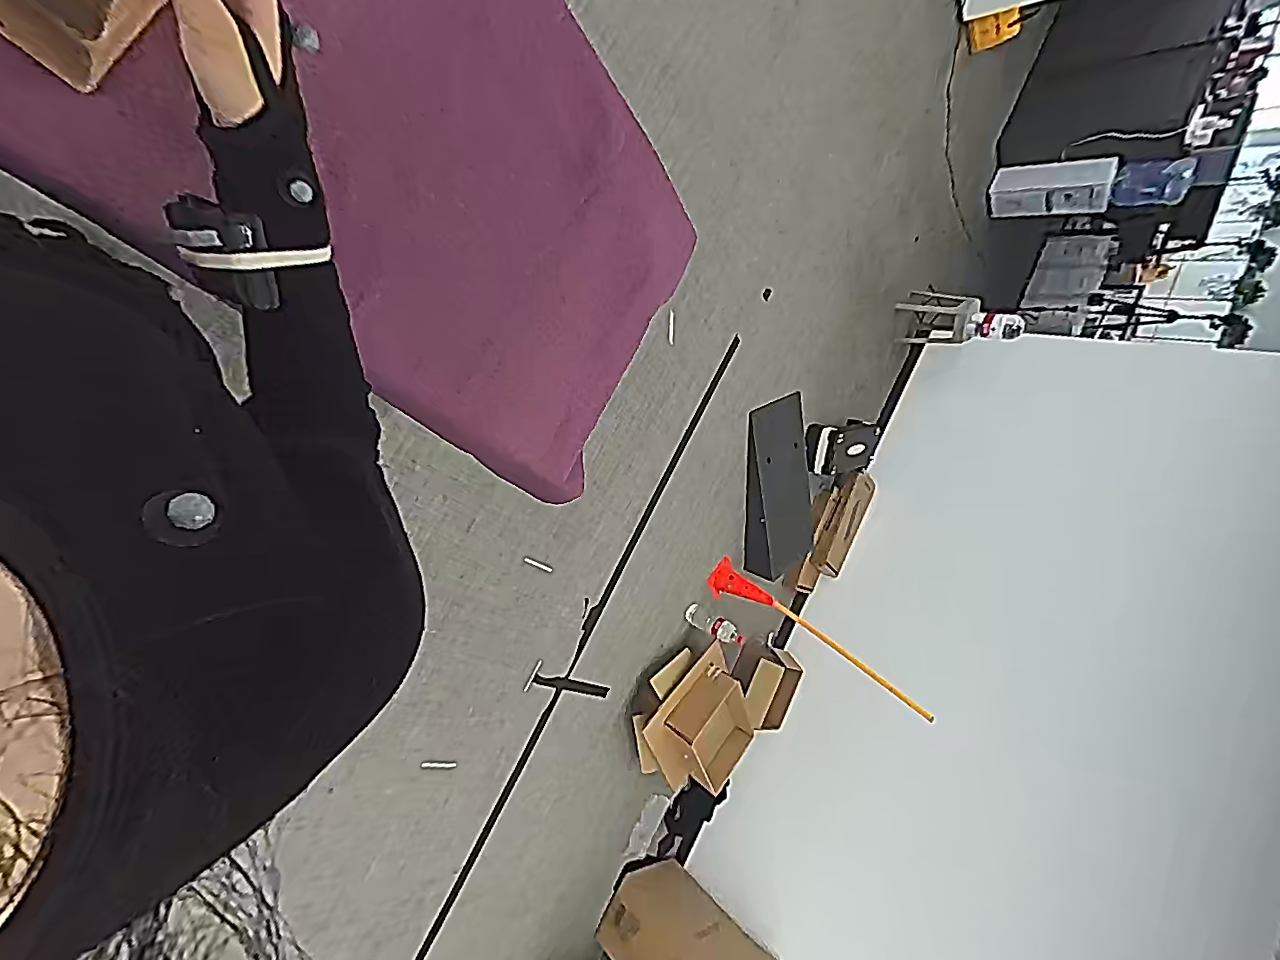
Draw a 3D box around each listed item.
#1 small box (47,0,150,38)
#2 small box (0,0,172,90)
[{"bbox_3d":[-0.350,-0.408,0.307,0.168,0.176,0.179,35,79,-49],"label":"small box"},{"bbox_3d":[-0.469,-0.445,0.413,0.168,0.176,0.179,39,75,-48],"label":"small box"}]
